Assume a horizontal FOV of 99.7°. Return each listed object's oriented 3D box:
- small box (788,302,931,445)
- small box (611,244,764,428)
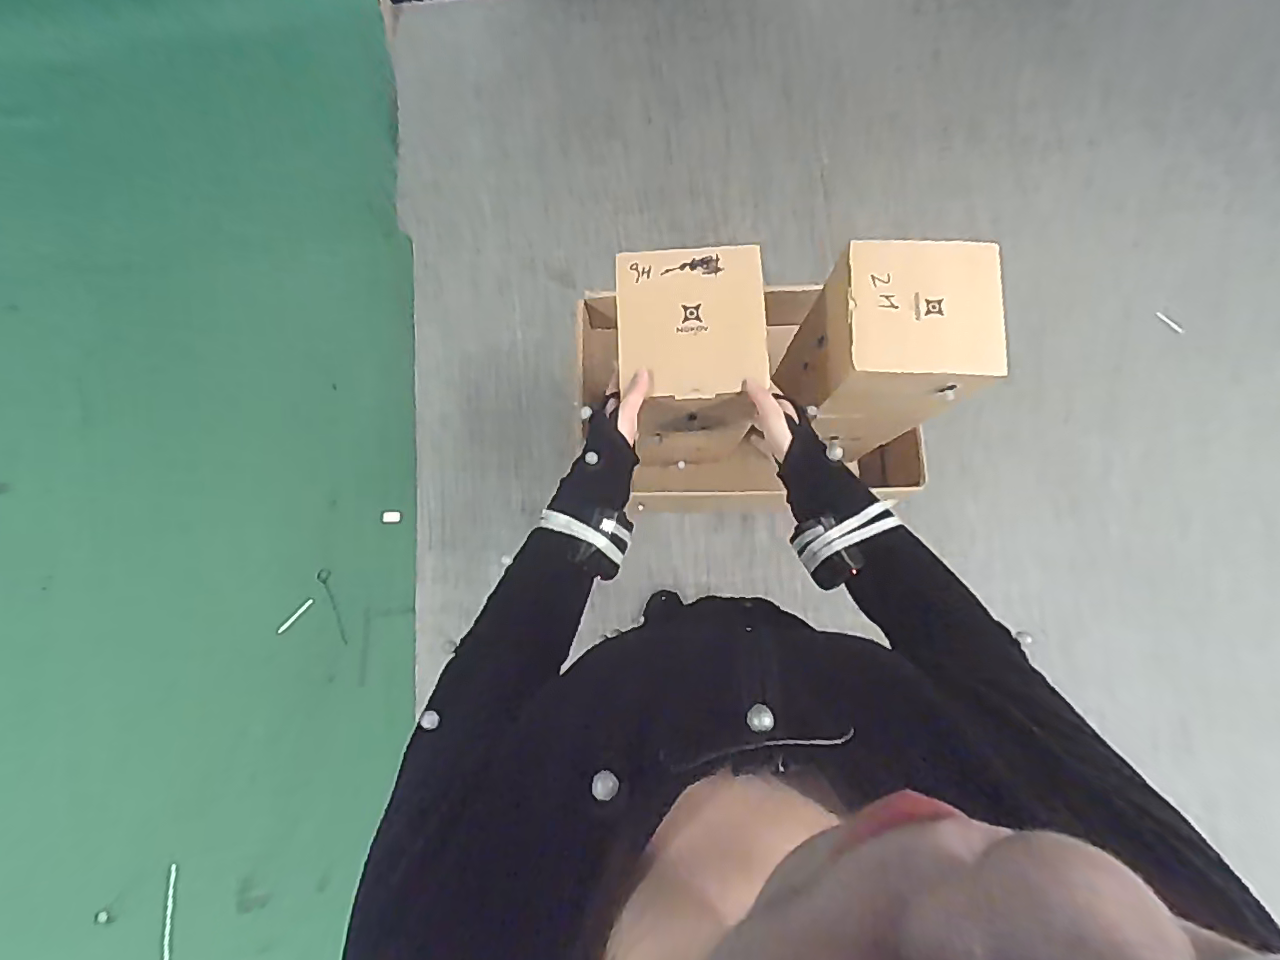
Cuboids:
[{"bbox_3d":[0.336,-0.162,0.860,0.168,0.176,0.179,1,81,3],"label":"small box"},{"bbox_3d":[0.057,-0.164,0.675,0.168,0.176,0.179,-3,83,3],"label":"small box"}]
